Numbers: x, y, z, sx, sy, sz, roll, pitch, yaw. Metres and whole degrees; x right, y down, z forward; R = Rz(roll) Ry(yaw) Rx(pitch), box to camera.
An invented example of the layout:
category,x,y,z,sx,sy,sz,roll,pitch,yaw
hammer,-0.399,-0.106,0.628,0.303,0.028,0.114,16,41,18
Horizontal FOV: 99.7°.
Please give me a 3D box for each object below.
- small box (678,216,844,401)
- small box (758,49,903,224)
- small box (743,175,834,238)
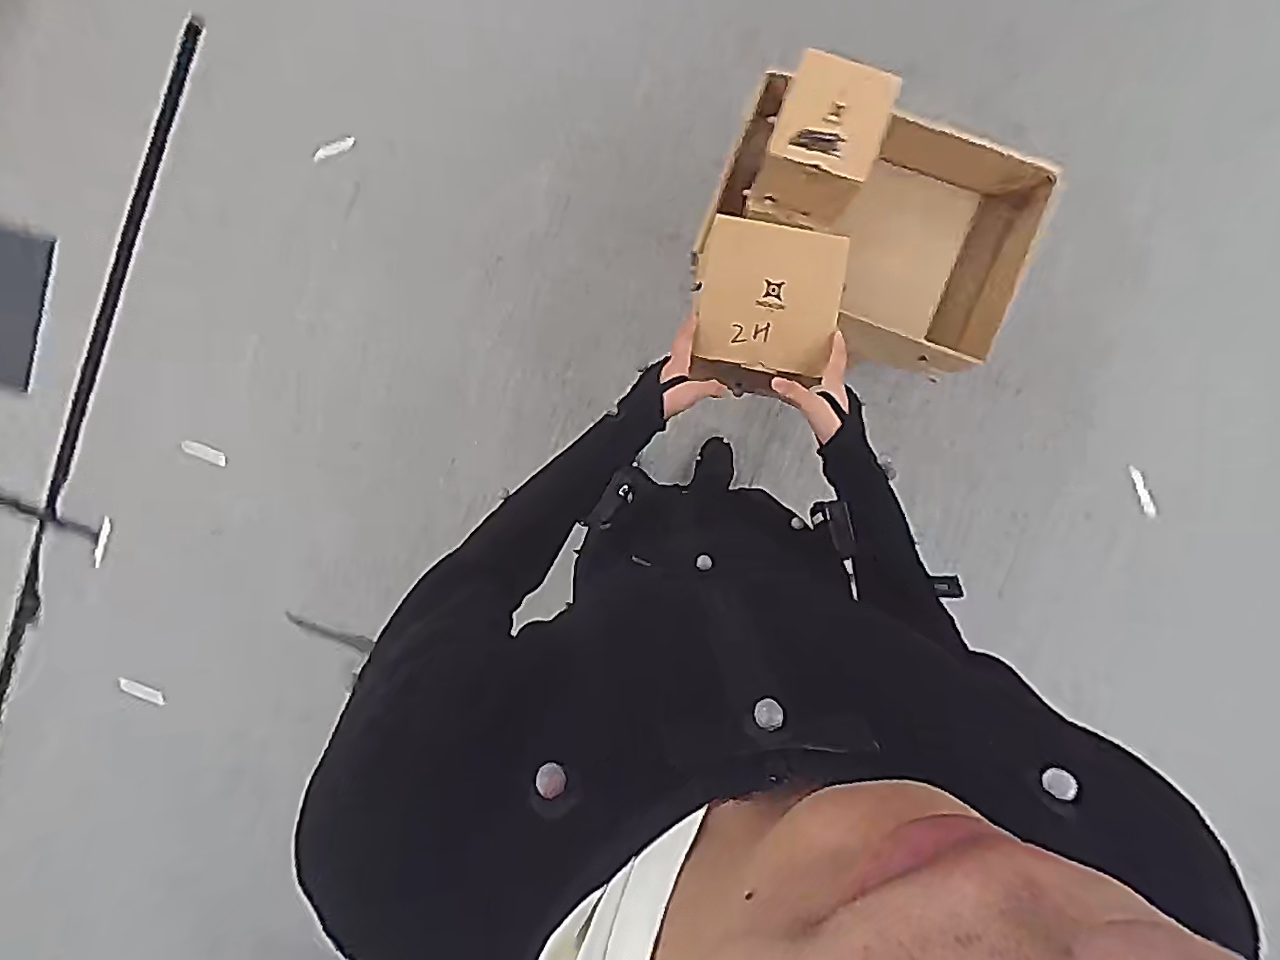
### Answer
category,x,y,z,sx,sy,sz,roll,pitch,yaw
small box,0.148,-0.215,0.722,0.168,0.176,0.179,10,90,-1
small box,0.315,-0.578,0.936,0.168,0.176,0.179,21,93,2
small box,0.316,-0.574,1.100,0.168,0.176,0.179,20,94,2
